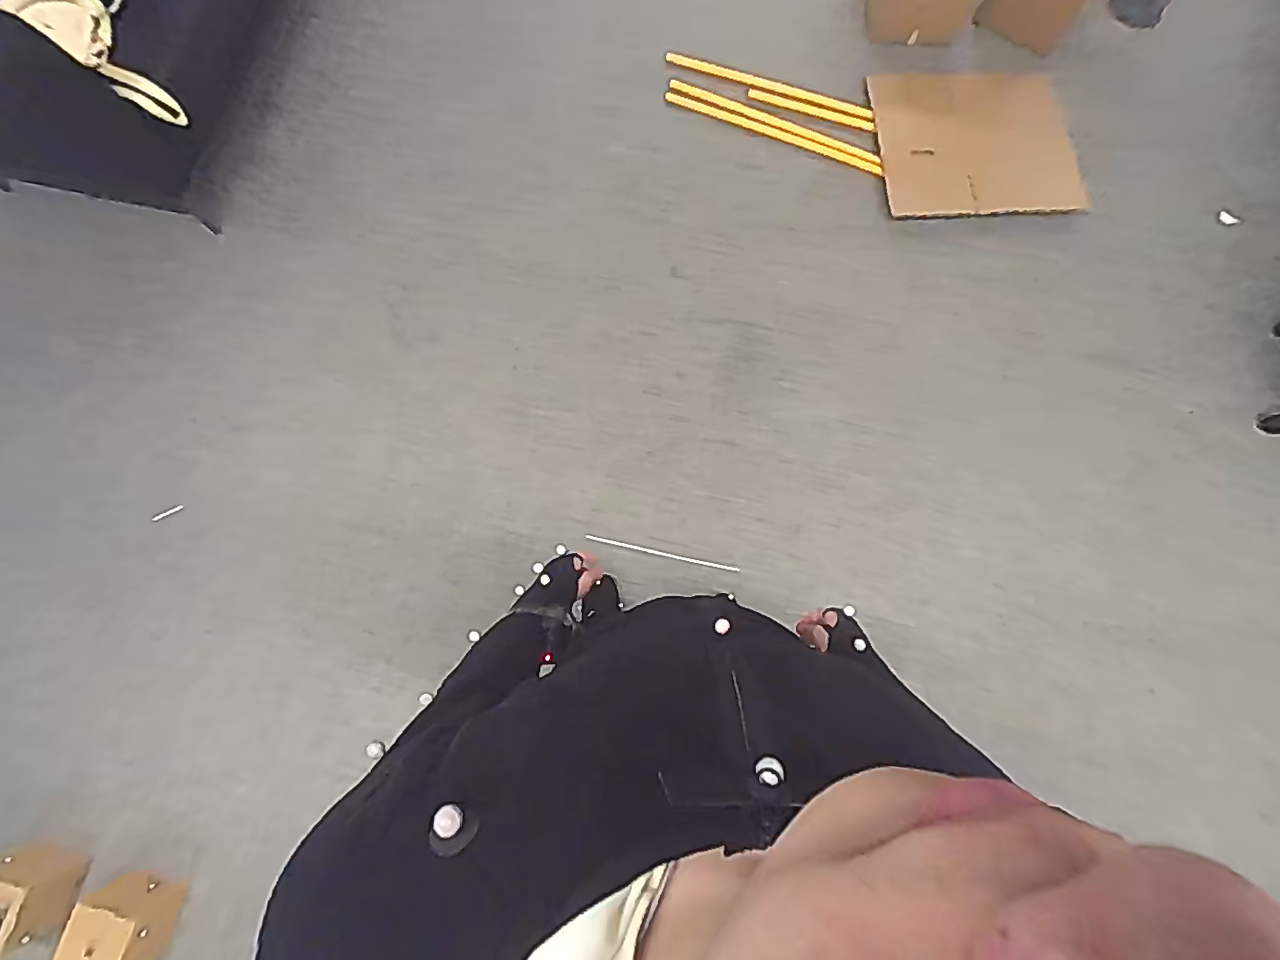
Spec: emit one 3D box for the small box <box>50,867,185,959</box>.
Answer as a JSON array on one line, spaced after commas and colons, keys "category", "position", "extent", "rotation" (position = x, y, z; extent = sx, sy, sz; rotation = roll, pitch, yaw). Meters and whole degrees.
[{"category": "small box", "position": [-1.341, 1.154, 1.397], "extent": [0.168, 0.176, 0.179], "rotation": [15, 78, 4]}]
